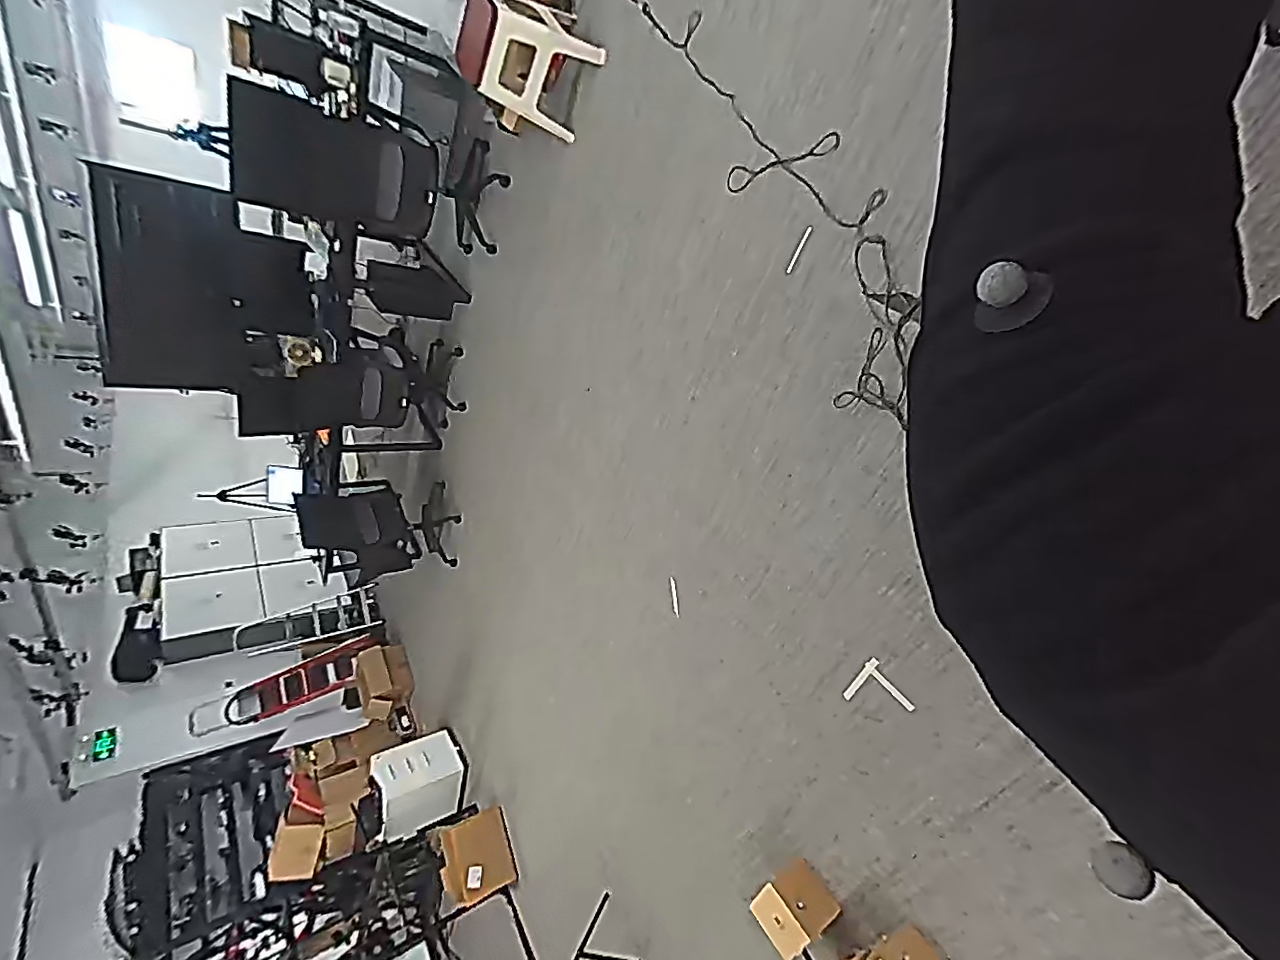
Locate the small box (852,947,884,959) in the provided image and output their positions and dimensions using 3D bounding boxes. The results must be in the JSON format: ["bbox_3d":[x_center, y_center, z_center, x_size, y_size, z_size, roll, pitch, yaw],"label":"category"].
[{"bbox_3d":[0.648,1.503,1.537,0.179,0.176,0.168,49,130,36],"label":"small box"}]
